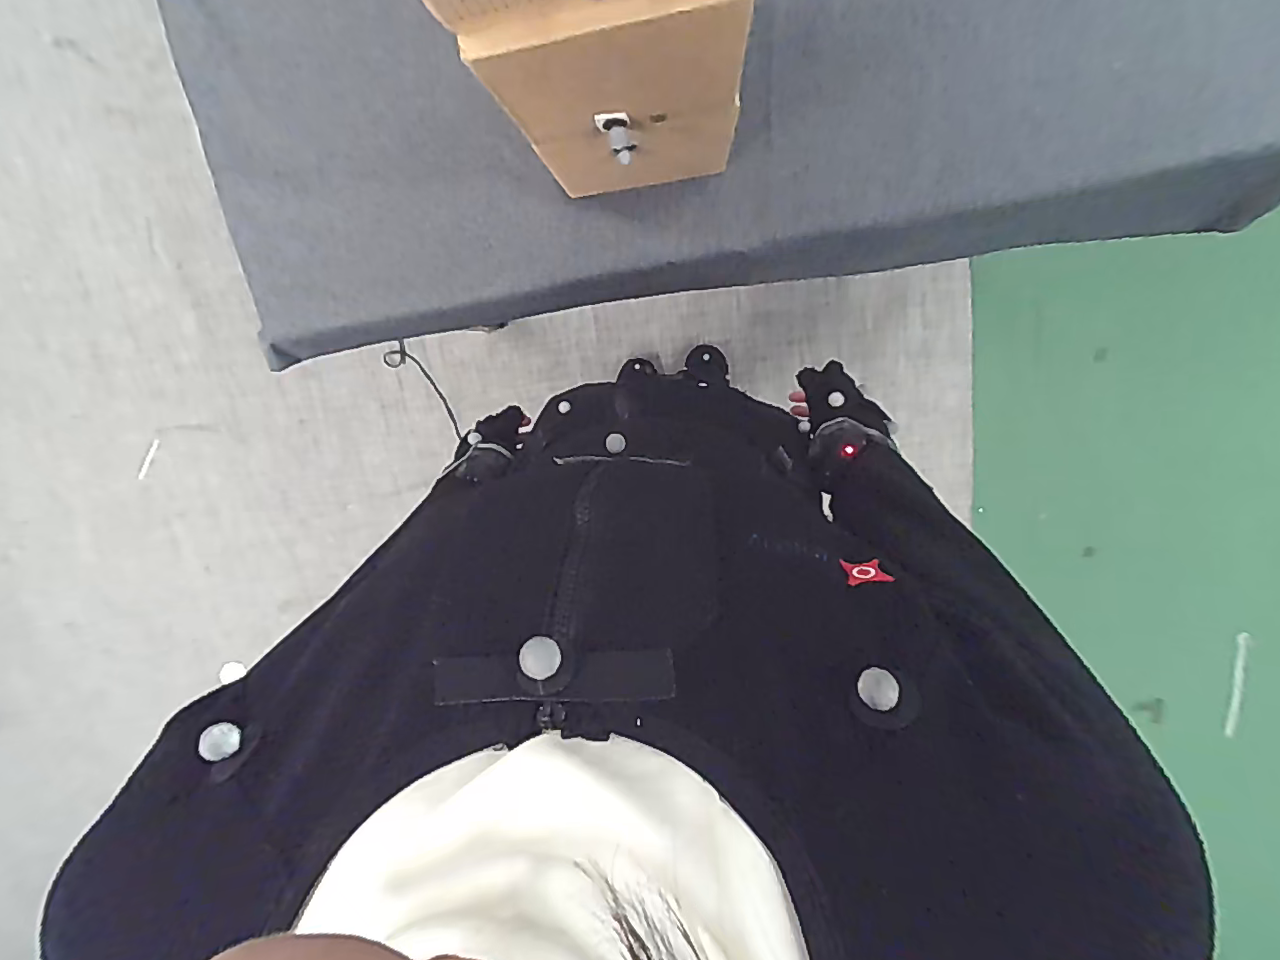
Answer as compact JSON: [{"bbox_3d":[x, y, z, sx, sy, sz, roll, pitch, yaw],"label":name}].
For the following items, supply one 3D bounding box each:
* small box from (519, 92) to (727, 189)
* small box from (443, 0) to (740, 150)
[{"bbox_3d":[-0.016,-0.390,0.504,0.179,0.176,0.168,-6,104,6],"label":"small box"},{"bbox_3d":[-0.031,-0.348,0.349,0.168,0.176,0.179,-7,105,9],"label":"small box"}]
